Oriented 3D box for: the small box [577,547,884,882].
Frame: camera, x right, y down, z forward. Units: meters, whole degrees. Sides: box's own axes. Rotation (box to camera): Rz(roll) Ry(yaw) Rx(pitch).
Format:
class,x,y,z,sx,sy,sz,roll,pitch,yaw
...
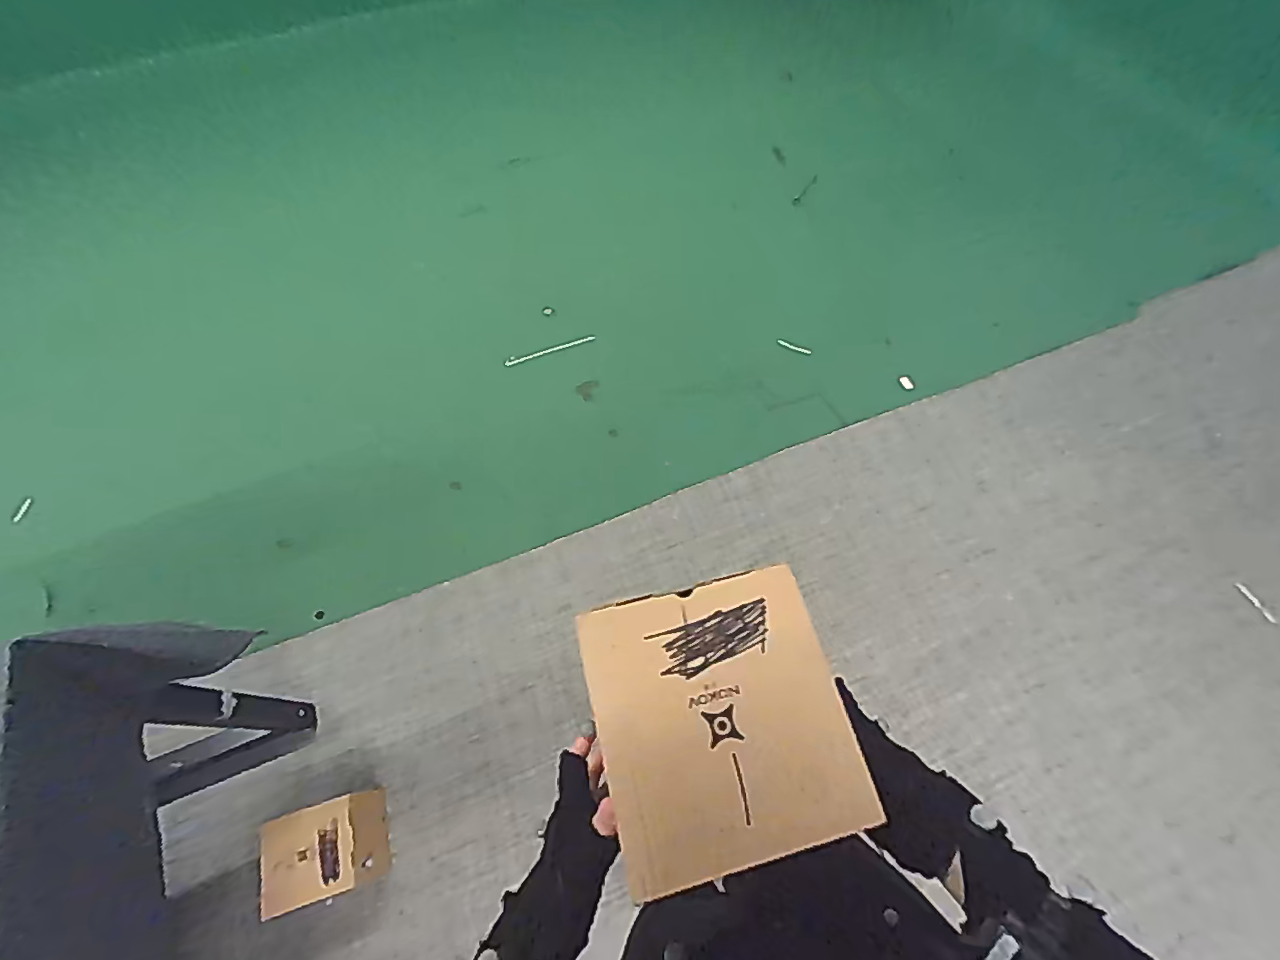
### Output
class,x,y,z,sx,sy,sz,roll,pitch,yaw
small box,0.048,0.175,0.427,0.168,0.176,0.179,-12,66,-8
